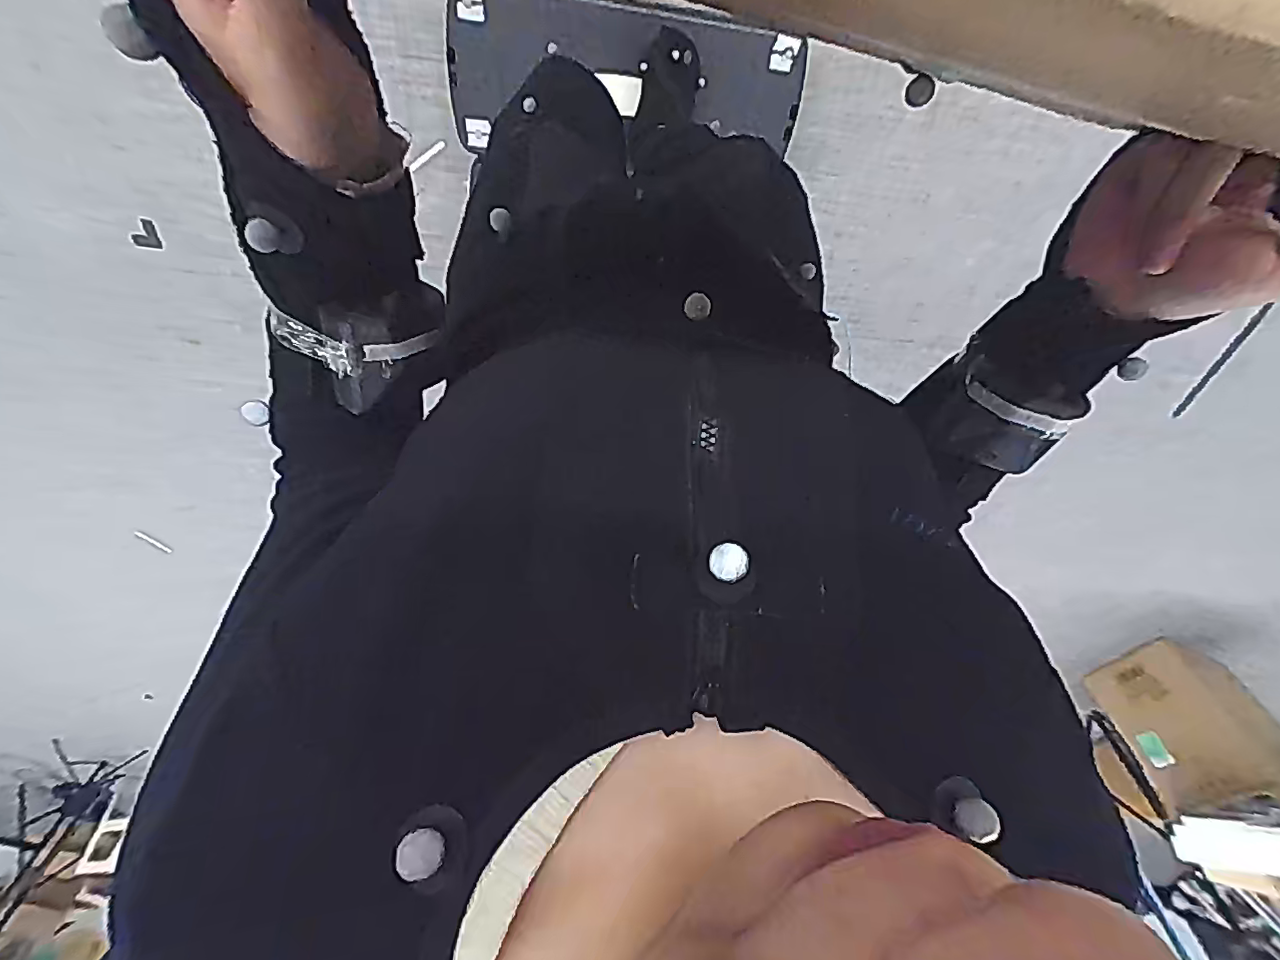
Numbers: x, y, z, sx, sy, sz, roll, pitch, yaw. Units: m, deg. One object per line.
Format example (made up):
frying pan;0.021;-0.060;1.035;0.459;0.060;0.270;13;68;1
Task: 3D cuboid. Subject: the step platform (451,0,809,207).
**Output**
step platform;-0.021;-0.783;1.088;0.684;0.204;0.286;9;130;-9

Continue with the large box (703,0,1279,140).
large box;0.083;-0.285;0.093;0.408;0.320;0.320;9;131;-6
